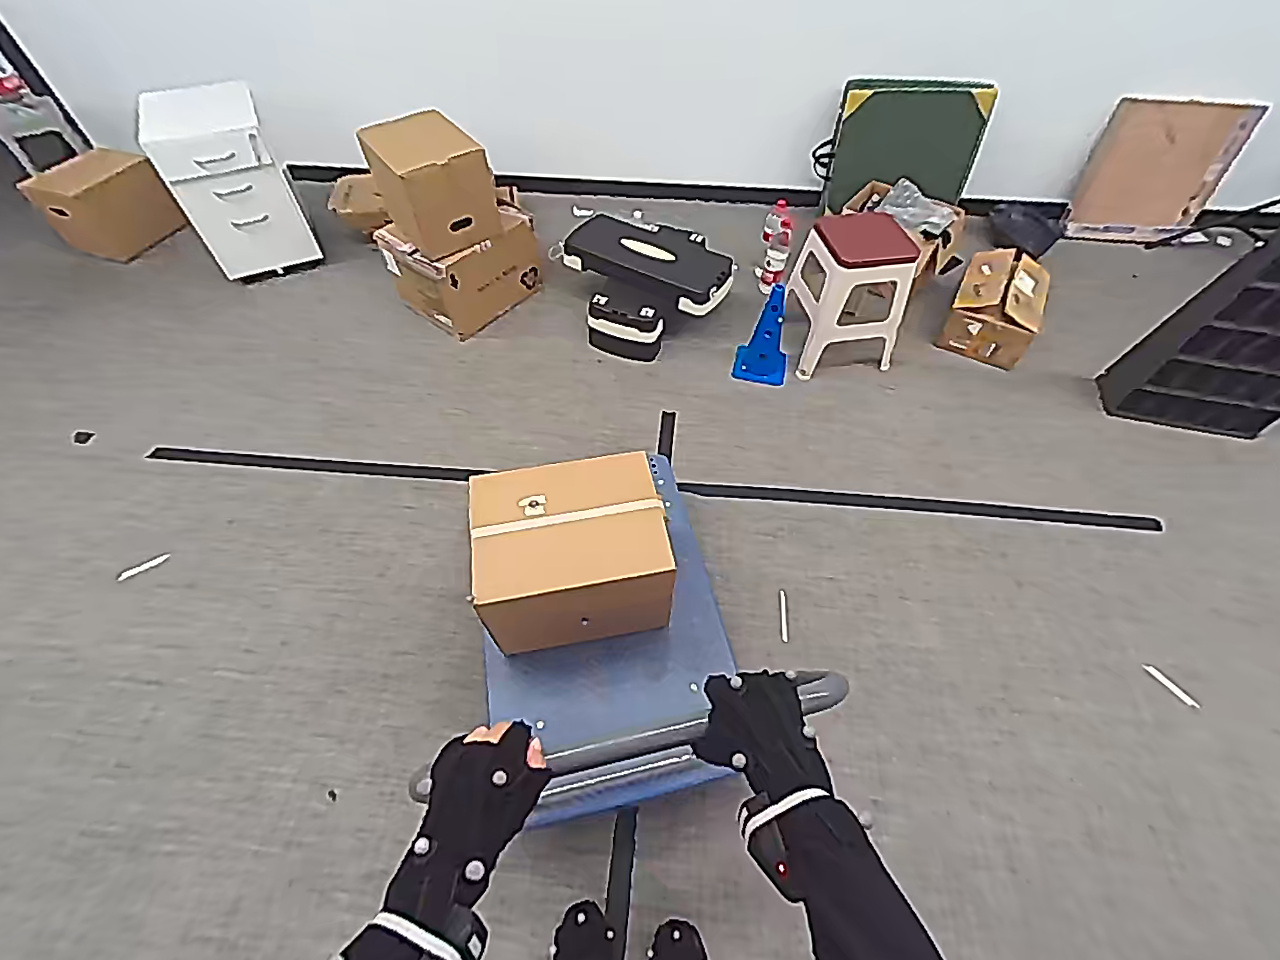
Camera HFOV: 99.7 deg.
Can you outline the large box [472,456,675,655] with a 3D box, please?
[{"bbox_3d":[-0.152,0.184,1.275,0.408,0.320,0.320,-9,55,-6],"label":"large box"}]
